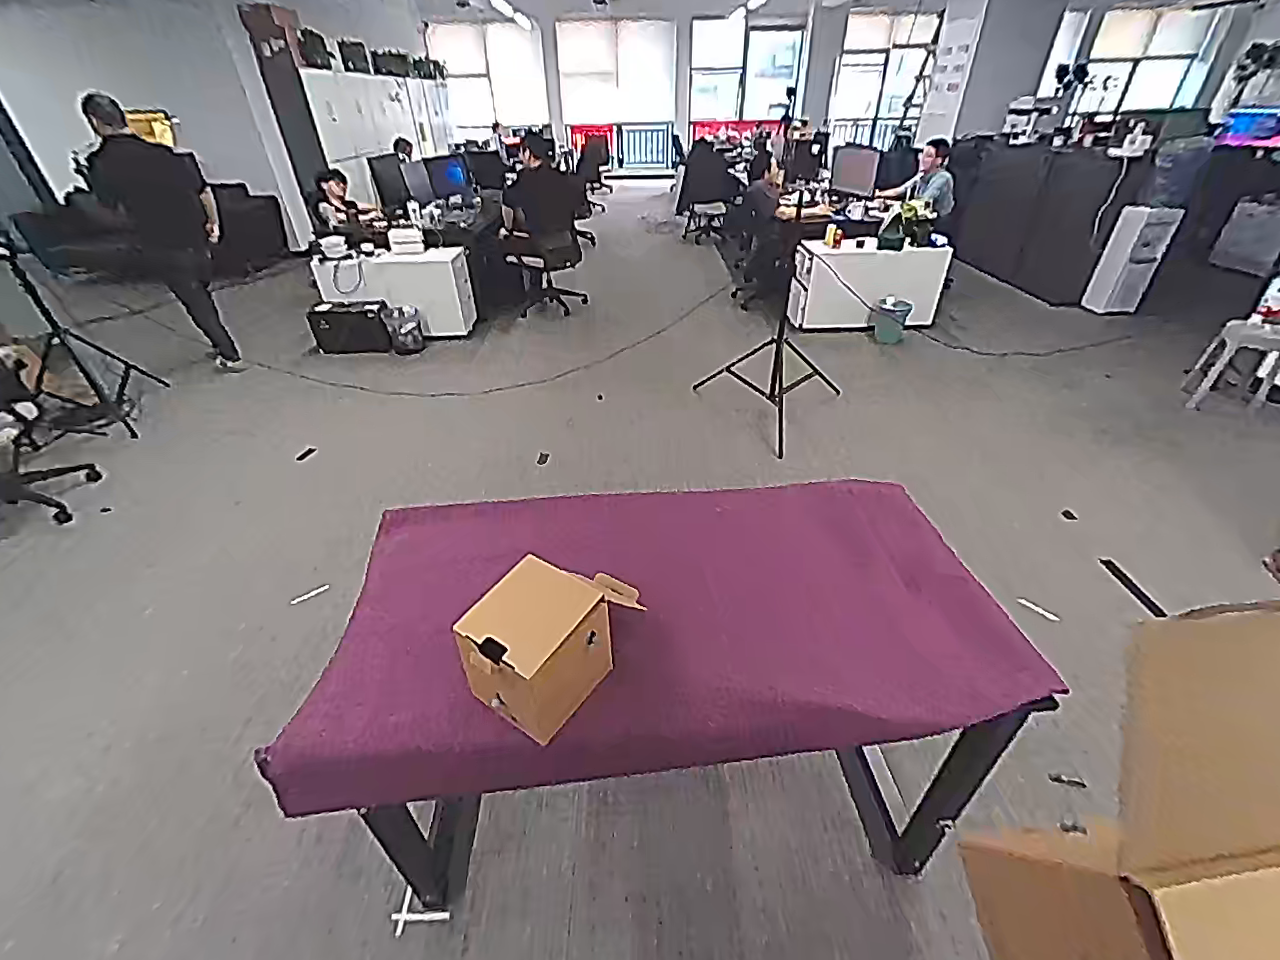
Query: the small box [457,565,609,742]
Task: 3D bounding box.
[{"bbox_3d":[-0.164,0.276,0.877,0.168,0.176,0.179,20,39,30],"label":"small box"}]
